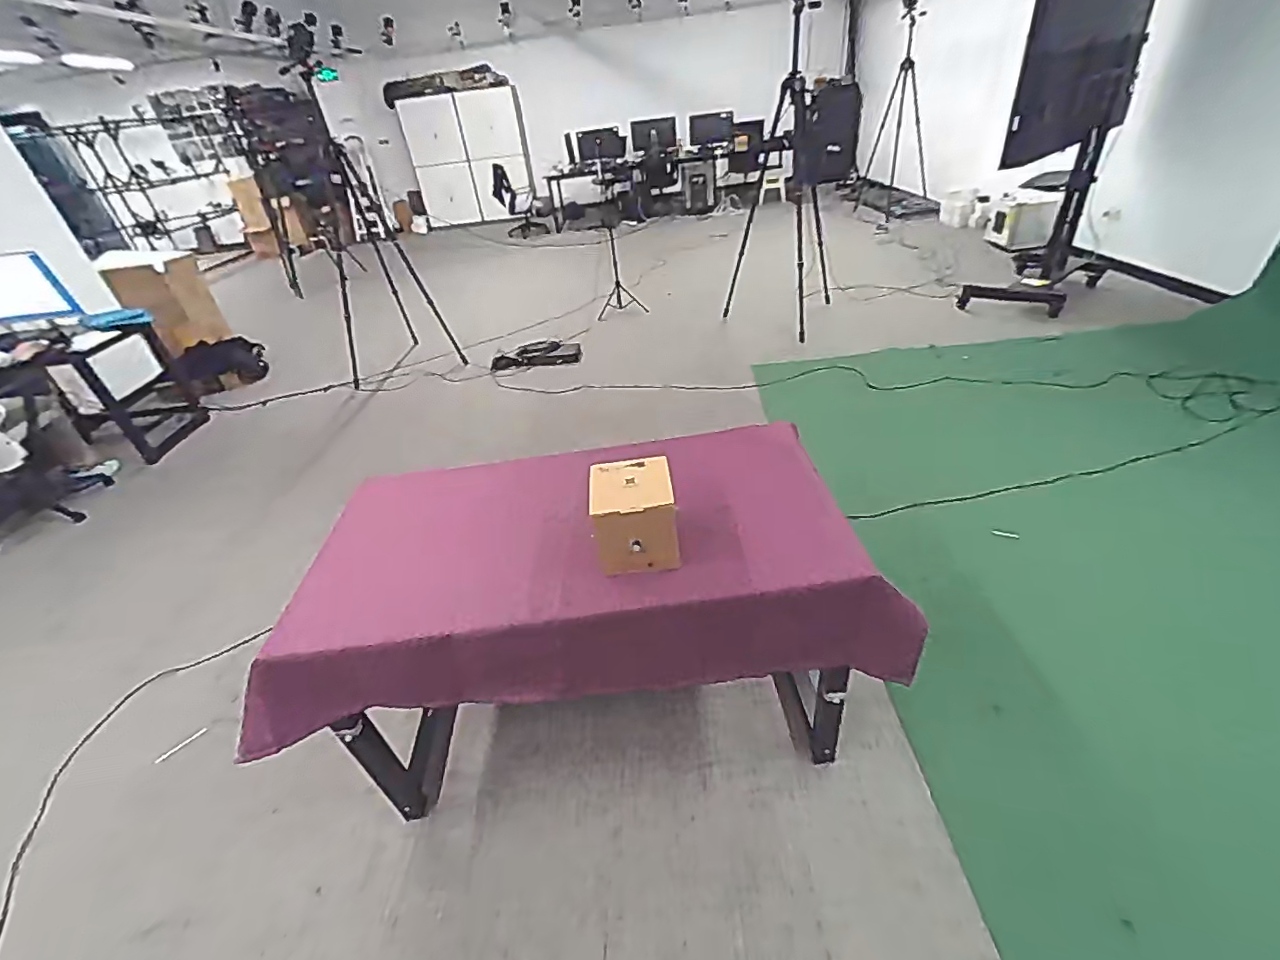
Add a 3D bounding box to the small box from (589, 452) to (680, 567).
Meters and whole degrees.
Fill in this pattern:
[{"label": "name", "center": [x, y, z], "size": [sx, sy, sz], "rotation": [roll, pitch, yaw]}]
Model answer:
[{"label": "small box", "center": [-0.009, 0.066, 1.130], "size": [0.168, 0.176, 0.179], "rotation": [-7, 36, 1]}]
